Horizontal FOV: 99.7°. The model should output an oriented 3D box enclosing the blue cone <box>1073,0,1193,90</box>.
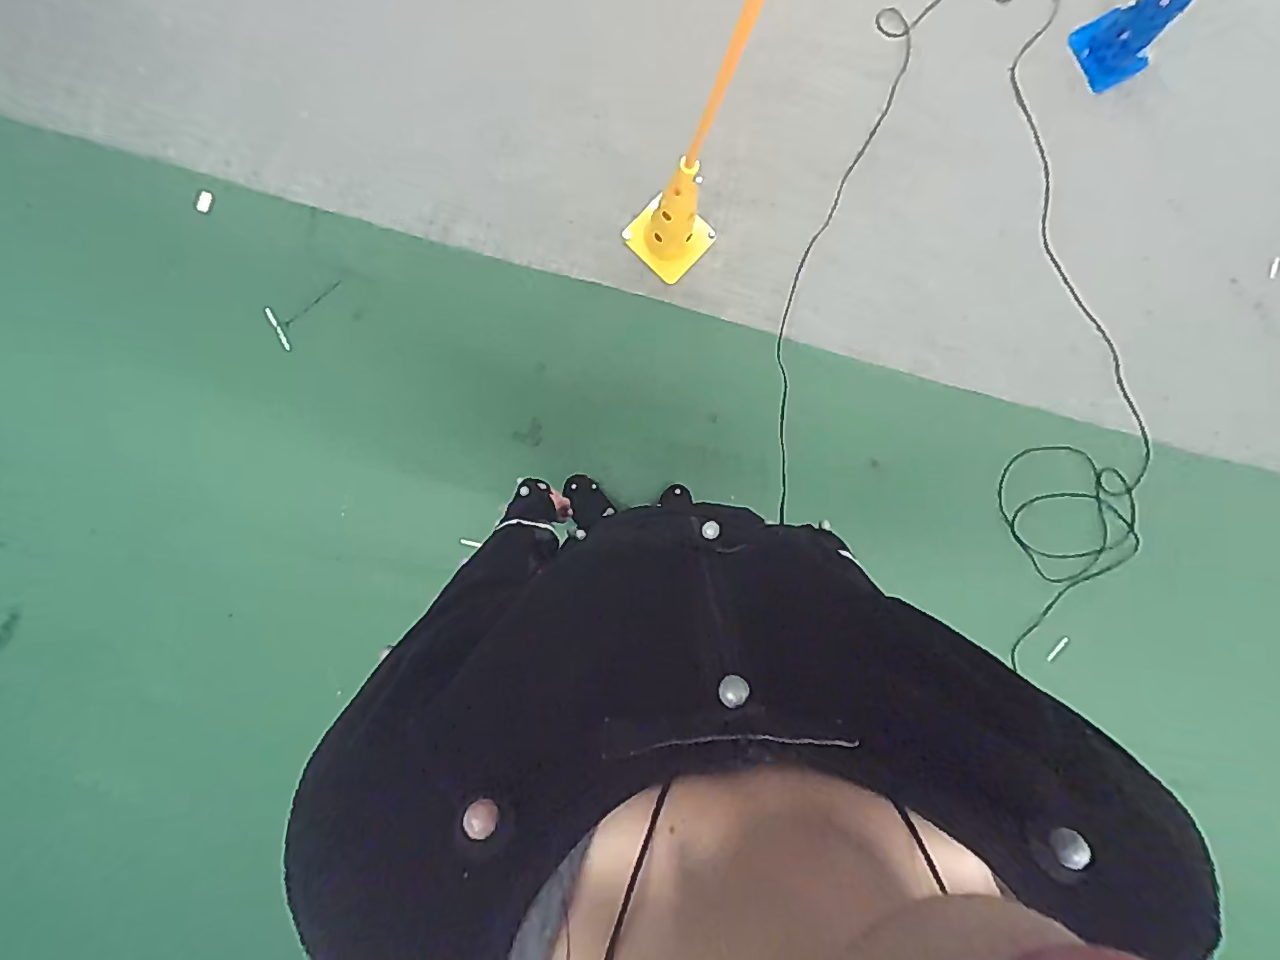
[{"bbox_3d":[1.398,-1.273,1.431,0.193,0.380,0.192,-32,92,-6],"label":"blue cone"}]
